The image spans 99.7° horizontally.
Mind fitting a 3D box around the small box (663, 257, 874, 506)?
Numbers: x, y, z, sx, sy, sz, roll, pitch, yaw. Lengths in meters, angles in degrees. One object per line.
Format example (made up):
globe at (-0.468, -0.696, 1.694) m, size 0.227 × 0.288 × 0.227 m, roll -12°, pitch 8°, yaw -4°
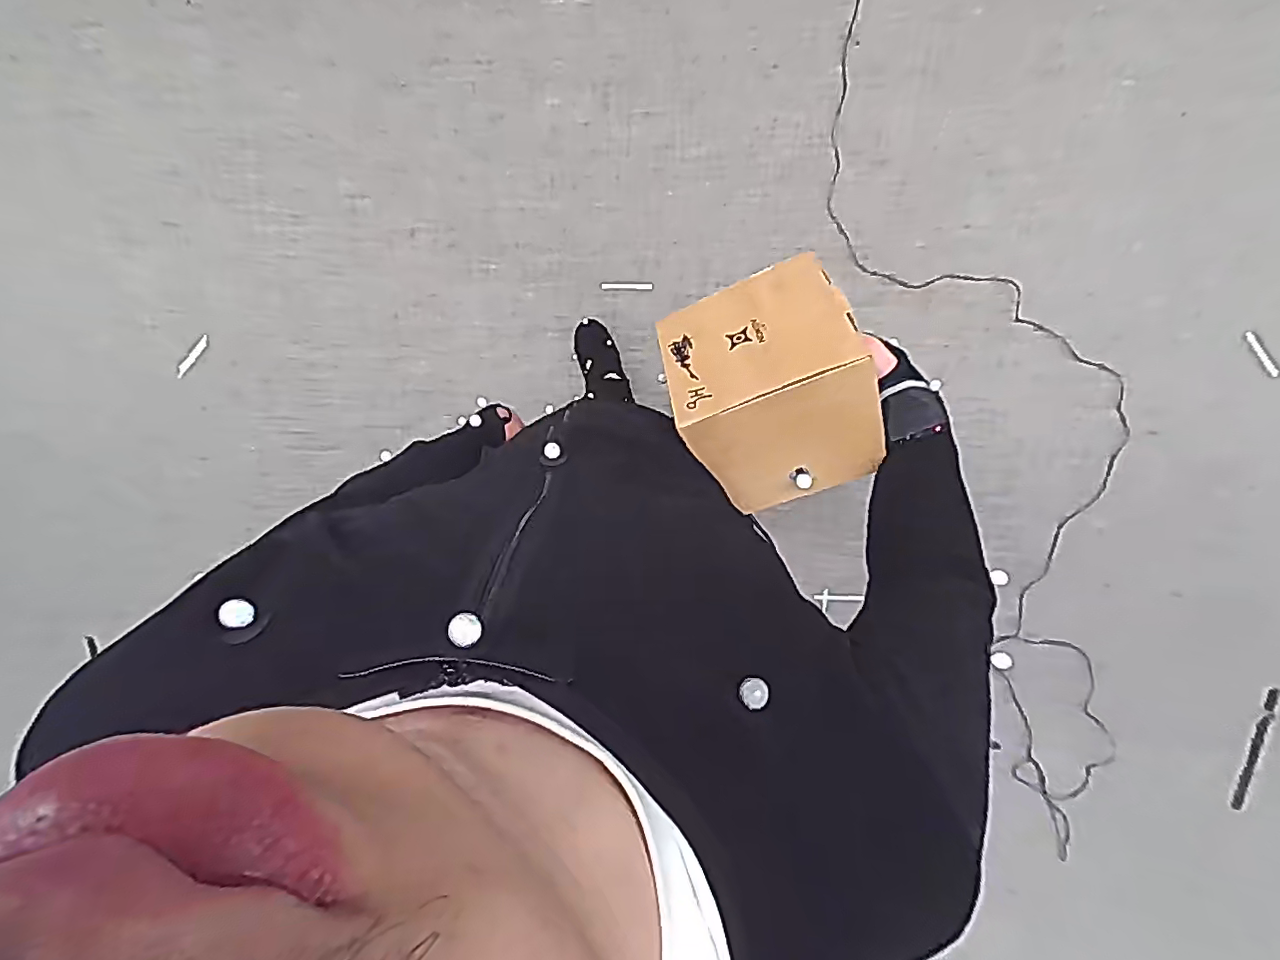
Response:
small box at (0.142, -0.098, 0.590) m, size 0.179 × 0.168 × 0.176 m, roll -20°, pitch 139°, yaw 15°
